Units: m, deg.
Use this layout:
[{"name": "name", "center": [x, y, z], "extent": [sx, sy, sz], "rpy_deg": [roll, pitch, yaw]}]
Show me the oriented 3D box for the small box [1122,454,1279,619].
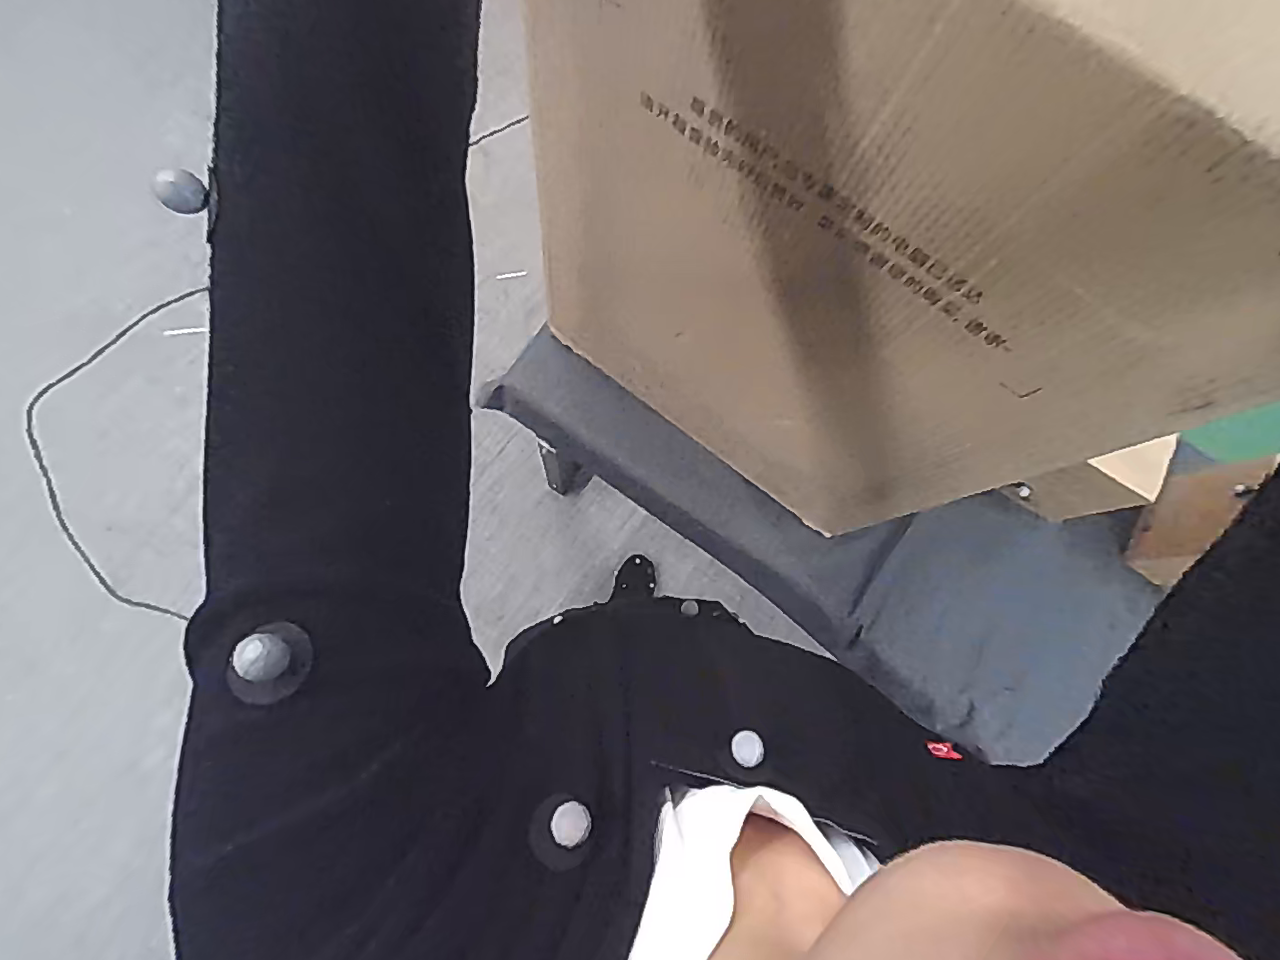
[{"name": "small box", "center": [0.889, 0.091, 0.801], "extent": [0.179, 0.176, 0.168], "rpy_deg": [36, 75, 3]}]
